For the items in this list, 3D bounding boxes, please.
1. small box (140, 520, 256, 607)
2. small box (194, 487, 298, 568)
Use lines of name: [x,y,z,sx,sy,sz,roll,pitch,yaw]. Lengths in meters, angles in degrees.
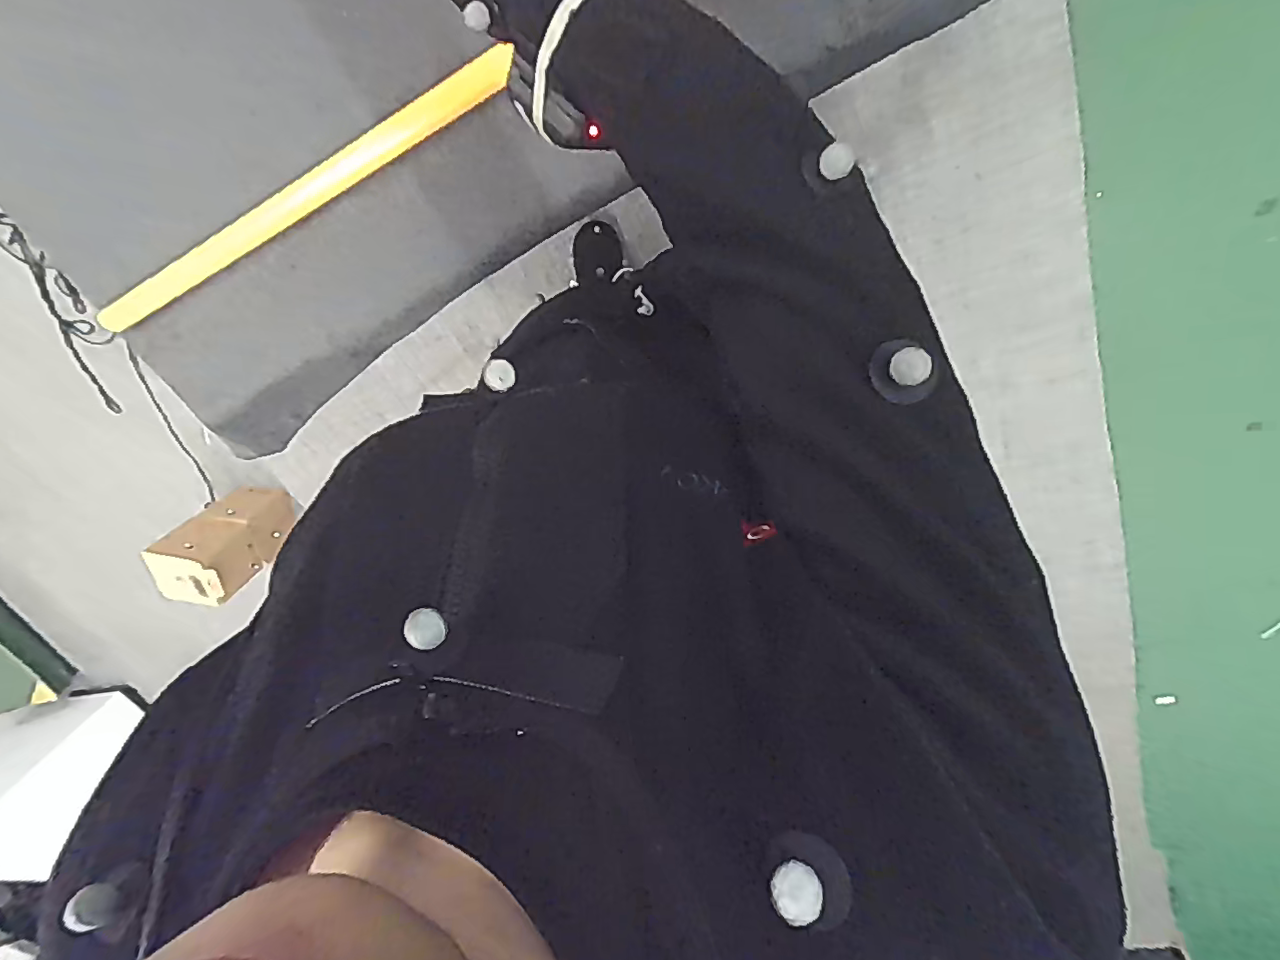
small box: [-1.230,0.231,1.527,0.179,0.176,0.168,9,121,4]
small box: [-1.199,0.144,1.664,0.168,0.176,0.179,4,121,6]
